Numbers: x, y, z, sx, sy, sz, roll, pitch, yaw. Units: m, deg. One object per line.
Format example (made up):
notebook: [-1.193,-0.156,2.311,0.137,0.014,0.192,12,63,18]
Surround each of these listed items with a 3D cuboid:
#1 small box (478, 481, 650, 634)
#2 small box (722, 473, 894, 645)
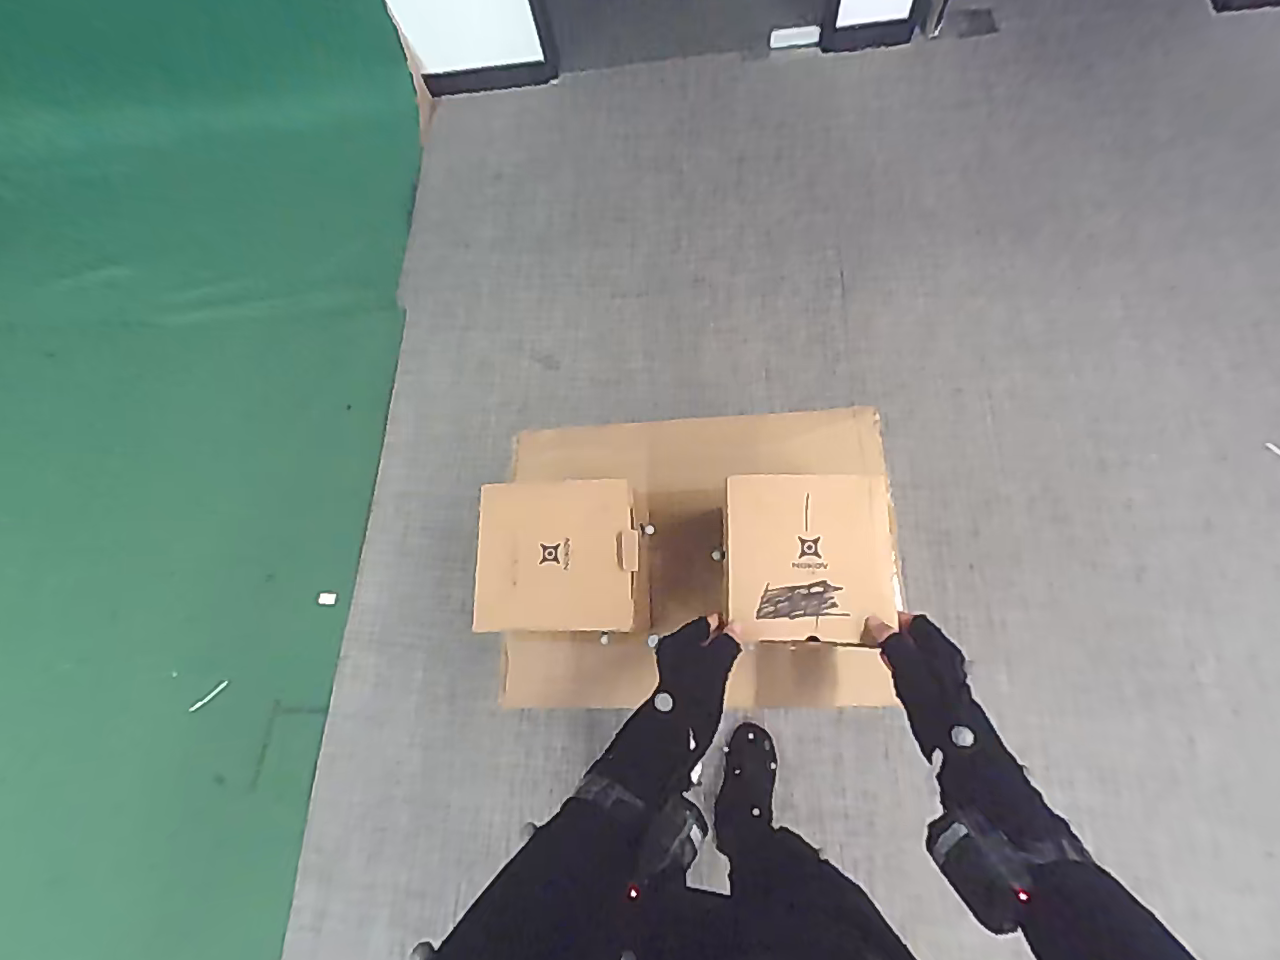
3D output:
small box: [-0.081,0.104,0.673,0.179,0.176,0.168,-4,73,8]
small box: [0.182,0.097,0.635,0.168,0.176,0.179,-1,75,7]
